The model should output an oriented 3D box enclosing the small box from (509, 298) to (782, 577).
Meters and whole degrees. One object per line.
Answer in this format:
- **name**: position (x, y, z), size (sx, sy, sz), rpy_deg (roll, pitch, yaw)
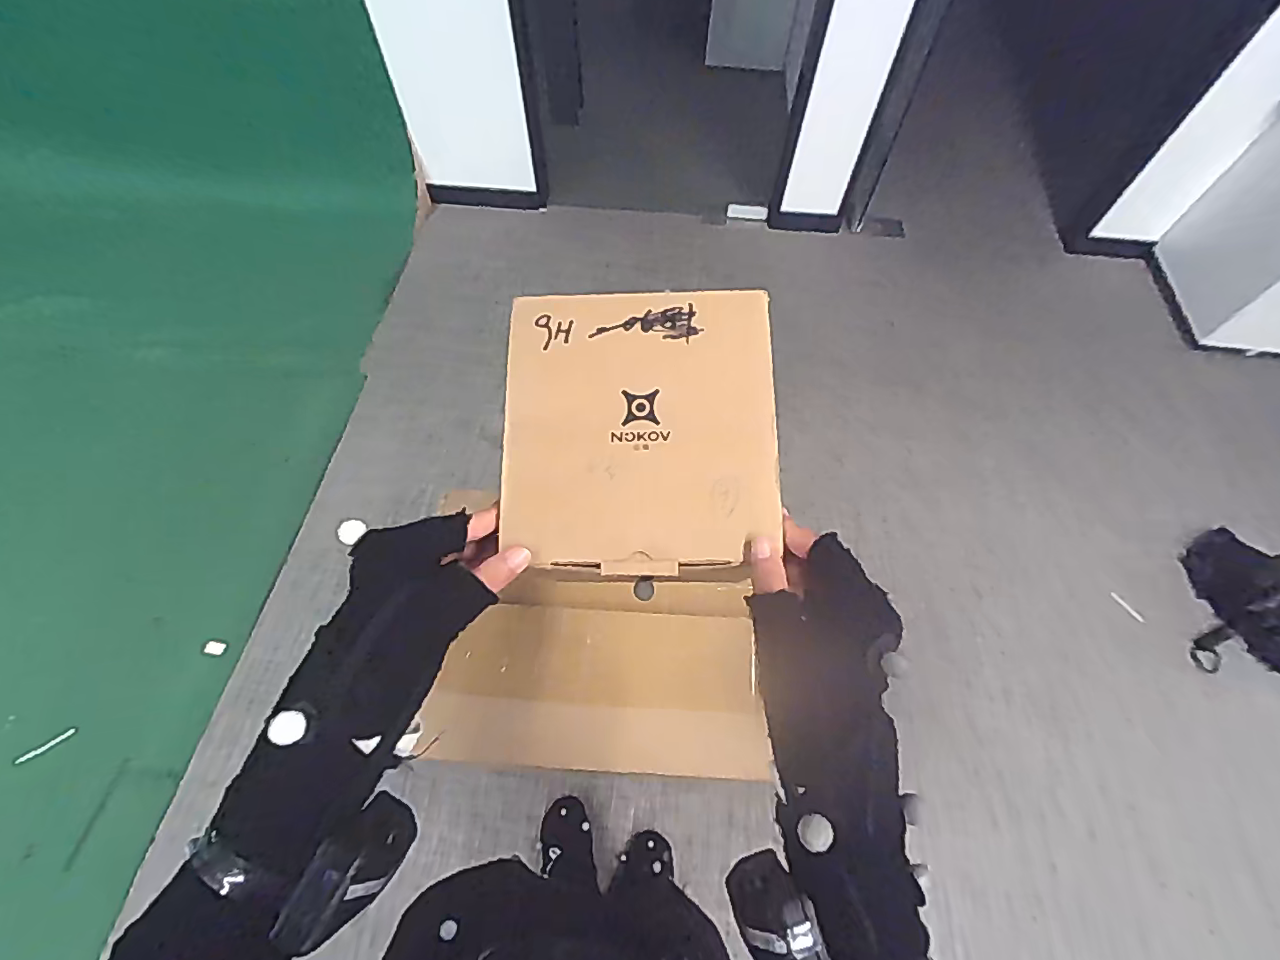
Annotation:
- **small box**: position (0.006, -0.016, 0.413), size (0.168, 0.176, 0.179), rpy_deg (-1, 78, 2)
